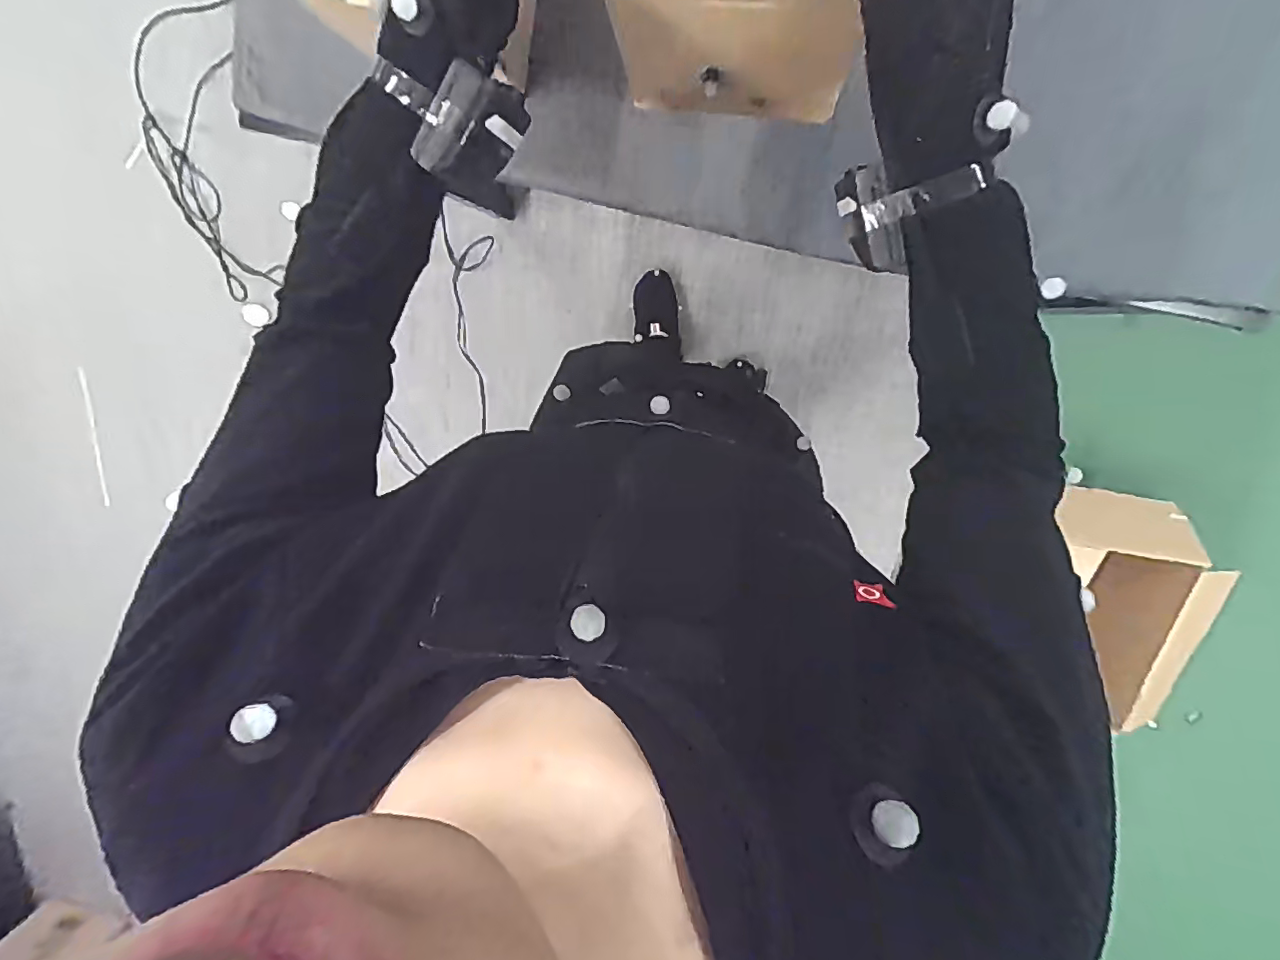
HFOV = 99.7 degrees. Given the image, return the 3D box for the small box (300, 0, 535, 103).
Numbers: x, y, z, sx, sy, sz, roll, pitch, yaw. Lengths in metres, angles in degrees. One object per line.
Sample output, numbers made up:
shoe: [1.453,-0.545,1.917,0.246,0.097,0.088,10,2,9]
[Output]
small box: [-0.205,-0.506,0.519,0.168,0.176,0.179,13,107,4]
